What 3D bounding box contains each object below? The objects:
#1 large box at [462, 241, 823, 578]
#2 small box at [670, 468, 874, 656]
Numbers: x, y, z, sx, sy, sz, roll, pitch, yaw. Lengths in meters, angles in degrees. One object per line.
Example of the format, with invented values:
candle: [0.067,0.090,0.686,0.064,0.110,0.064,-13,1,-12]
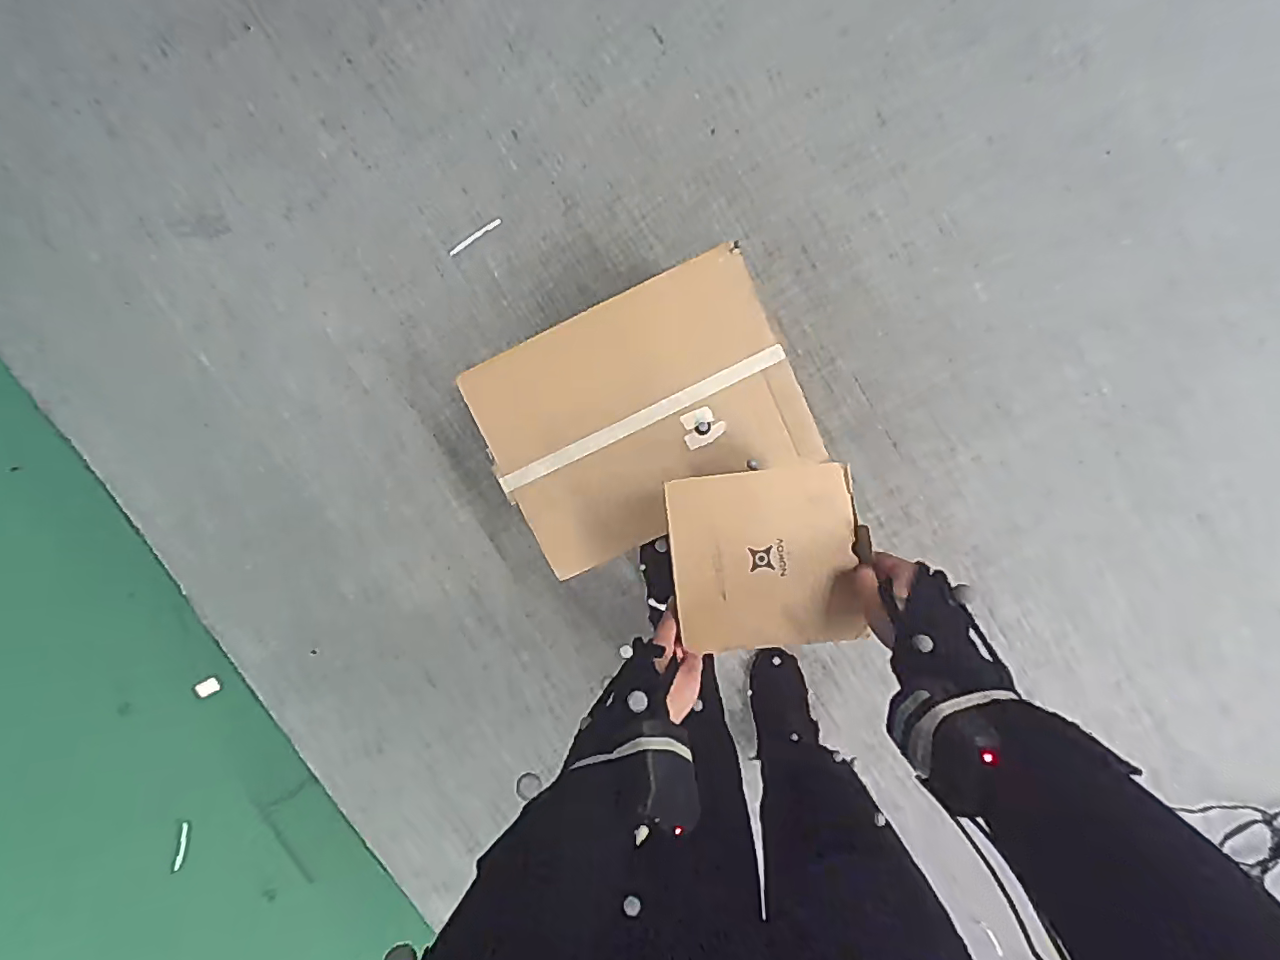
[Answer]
large box: [0.003,-0.100,0.864,0.408,0.320,0.320,-26,97,3]
small box: [0.125,0.079,0.578,0.179,0.176,0.168,-6,86,4]
